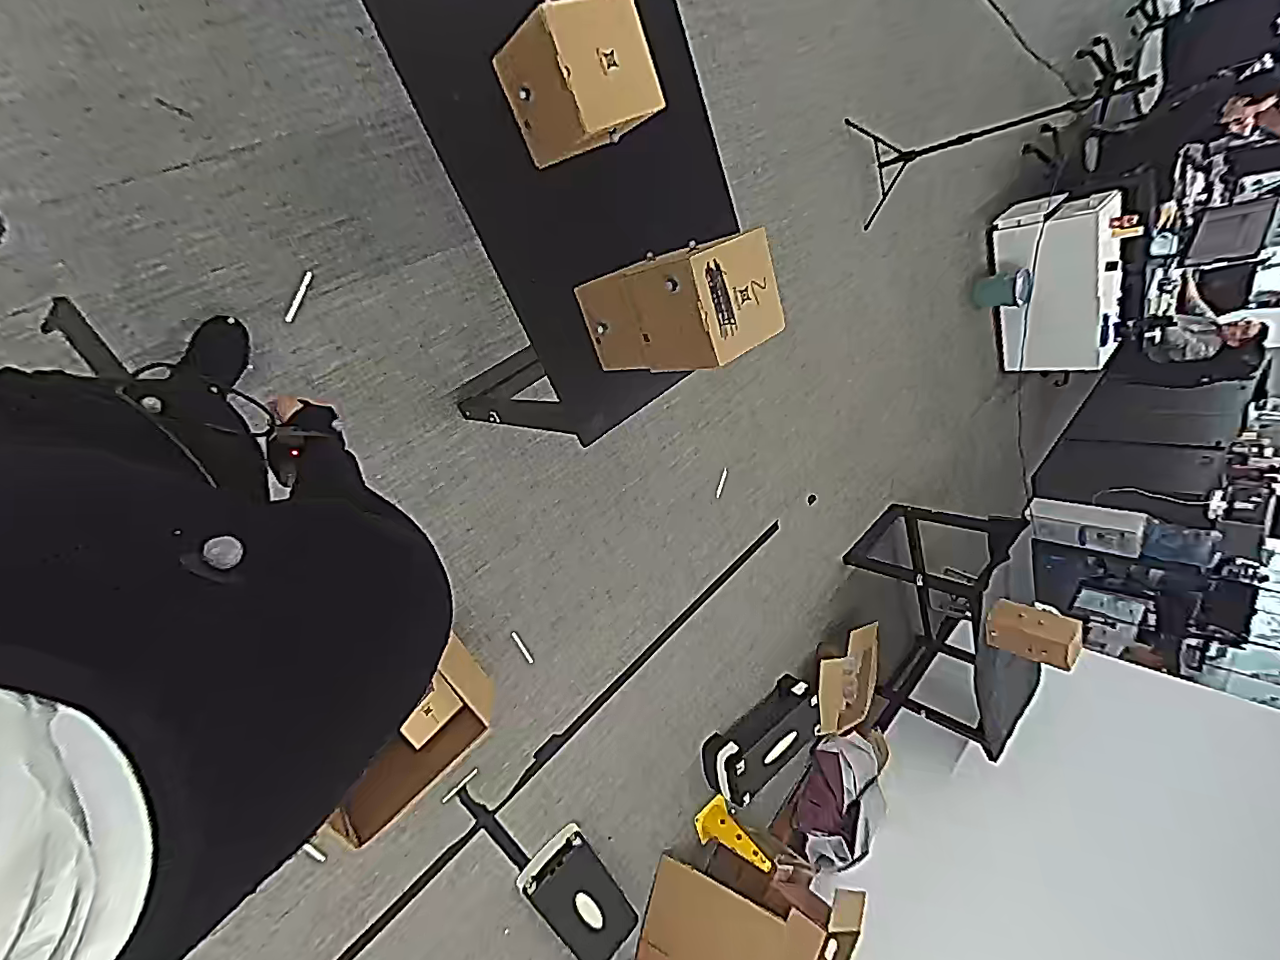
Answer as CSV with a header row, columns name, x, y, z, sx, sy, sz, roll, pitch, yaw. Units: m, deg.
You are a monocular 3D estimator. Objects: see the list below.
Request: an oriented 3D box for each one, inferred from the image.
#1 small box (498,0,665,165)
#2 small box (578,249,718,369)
name,x,y,z,sx,sy,sz,roll,pitch,yaw
small box,-0.096,-0.642,0.876,0.179,0.176,0.168,-38,120,-26
small box,0.014,-0.317,1.020,0.179,0.176,0.168,-33,116,-29
